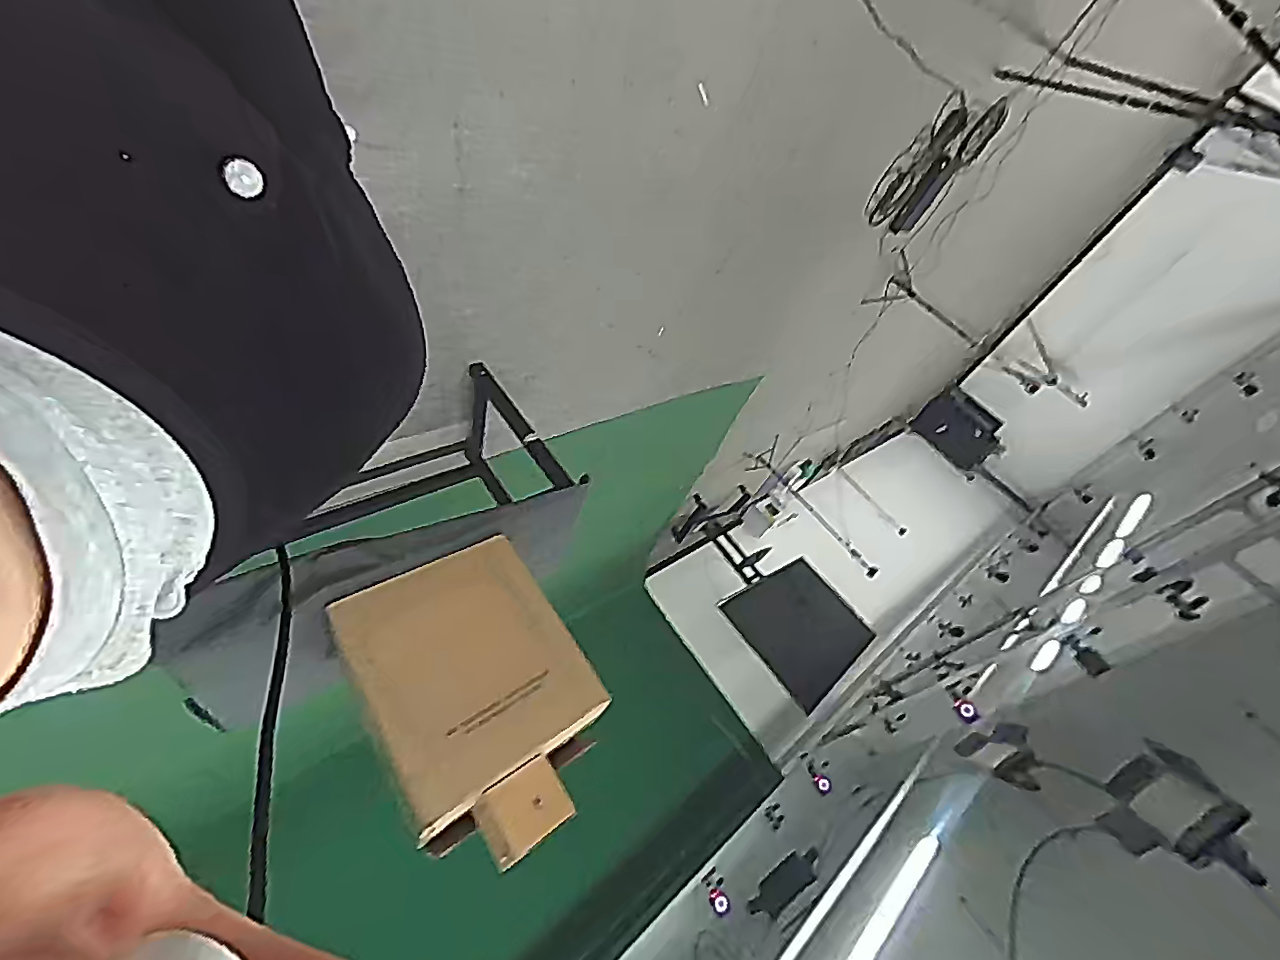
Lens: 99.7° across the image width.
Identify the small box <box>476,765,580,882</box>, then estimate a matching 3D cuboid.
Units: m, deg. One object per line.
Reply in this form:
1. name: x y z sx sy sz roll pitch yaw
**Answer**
1. small box: -0.288 0.866 1.375 0.179 0.176 0.168 -19 149 -42
